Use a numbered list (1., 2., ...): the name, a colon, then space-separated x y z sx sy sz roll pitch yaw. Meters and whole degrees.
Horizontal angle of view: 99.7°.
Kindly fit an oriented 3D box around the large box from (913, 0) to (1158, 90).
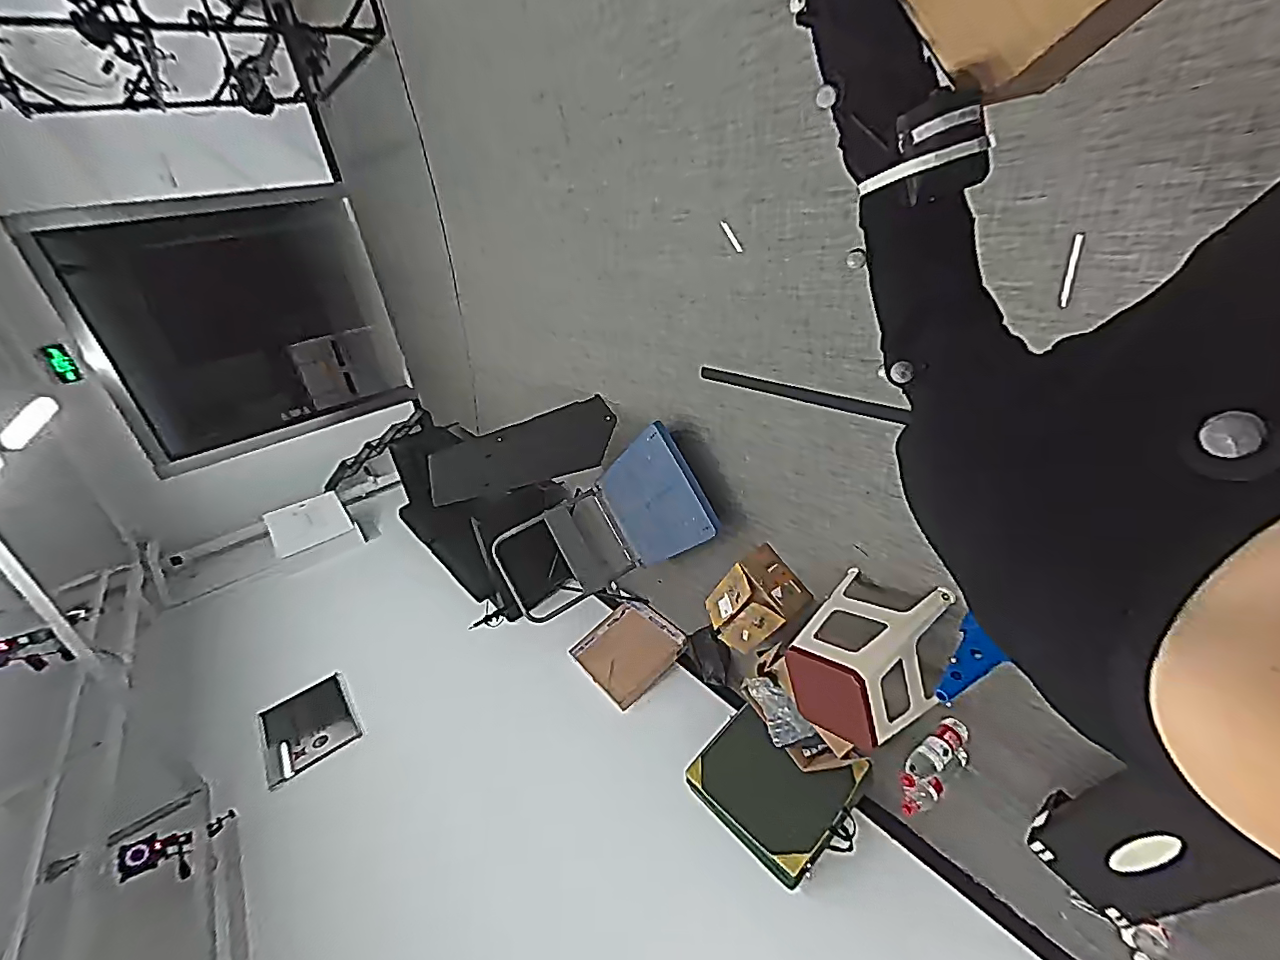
1. large box: 0.349 -0.533 0.322 0.320 0.320 0.408 55 141 -3
